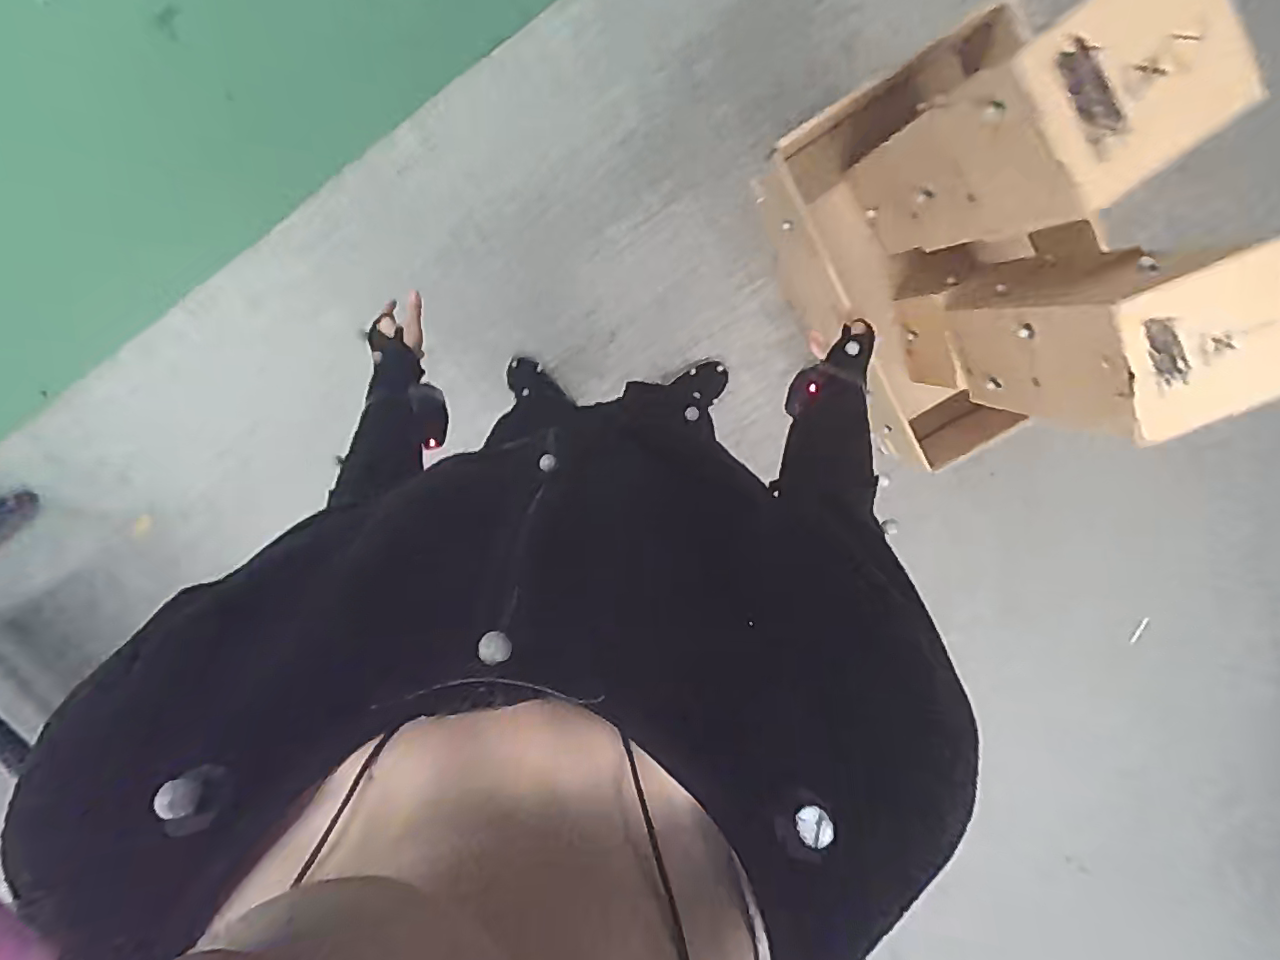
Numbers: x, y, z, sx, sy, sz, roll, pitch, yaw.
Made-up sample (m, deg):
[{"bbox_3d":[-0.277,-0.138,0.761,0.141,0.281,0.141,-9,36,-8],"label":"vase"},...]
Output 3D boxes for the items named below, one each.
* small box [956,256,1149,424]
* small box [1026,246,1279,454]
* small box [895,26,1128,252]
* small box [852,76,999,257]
[{"bbox_3d":[0.594,-0.201,0.787,0.179,0.176,0.168,-24,105,8],"label":"small box"},{"bbox_3d":[0.591,-0.150,0.631,0.179,0.176,0.168,-21,106,6],"label":"small box"},{"bbox_3d":[0.471,-0.428,0.721,0.179,0.176,0.168,-33,104,10],"label":"small box"},{"bbox_3d":[0.481,-0.488,0.874,0.179,0.176,0.168,-33,102,10],"label":"small box"}]
